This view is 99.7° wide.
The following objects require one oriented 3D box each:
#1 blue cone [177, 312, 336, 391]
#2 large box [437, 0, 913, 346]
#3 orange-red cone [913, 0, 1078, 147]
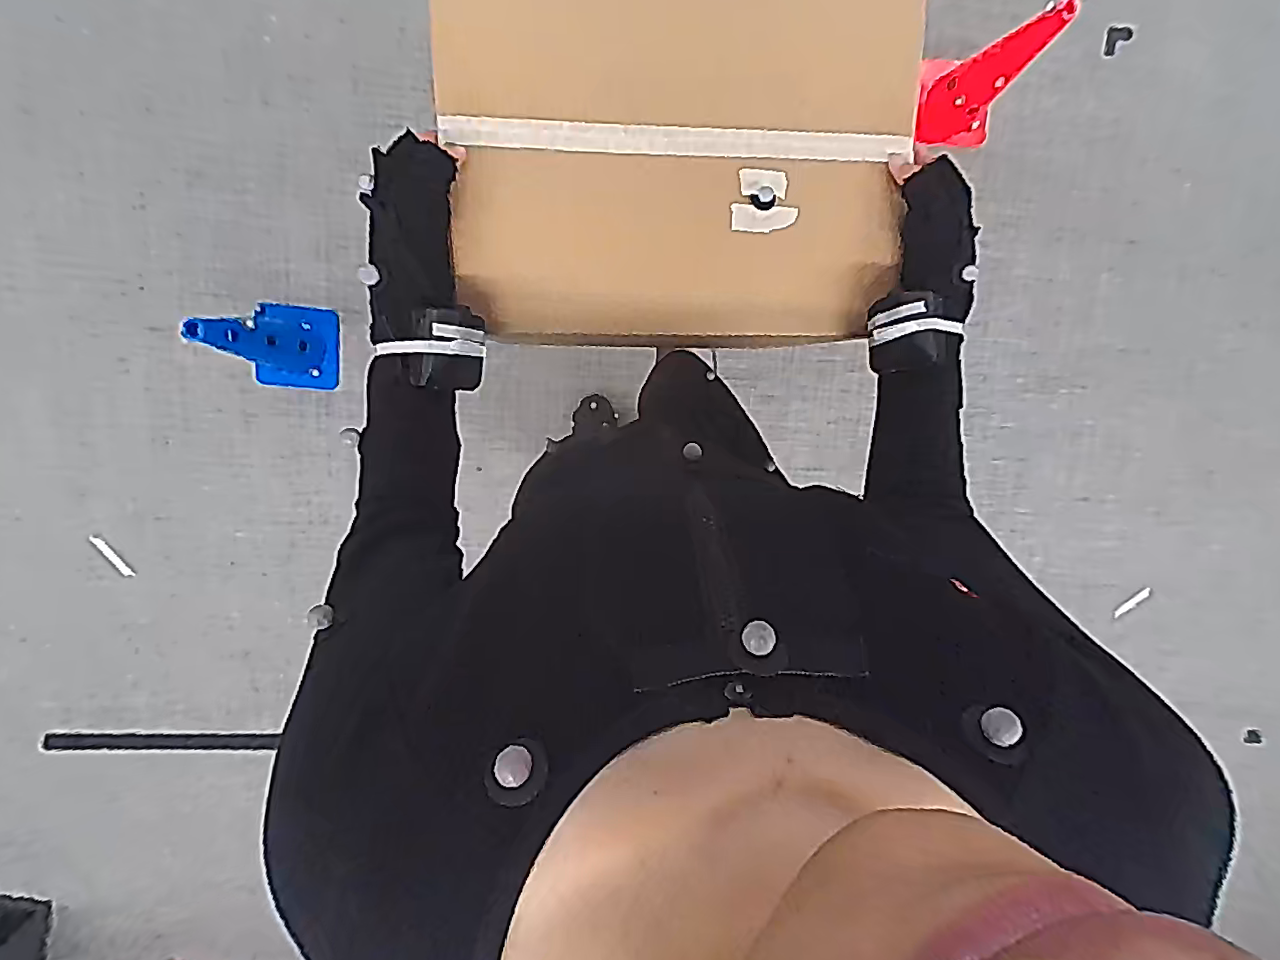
[{"bbox_3d":[-0.852,-0.298,1.198,0.192,0.380,0.193,6,98,-4],"label":"blue cone"},{"bbox_3d":[0.020,-0.319,0.608,0.408,0.320,0.320,-1,102,-7],"label":"large box"},{"bbox_3d":[0.815,-0.947,1.223,0.198,0.360,0.199,0,97,-6],"label":"orange-red cone"}]
